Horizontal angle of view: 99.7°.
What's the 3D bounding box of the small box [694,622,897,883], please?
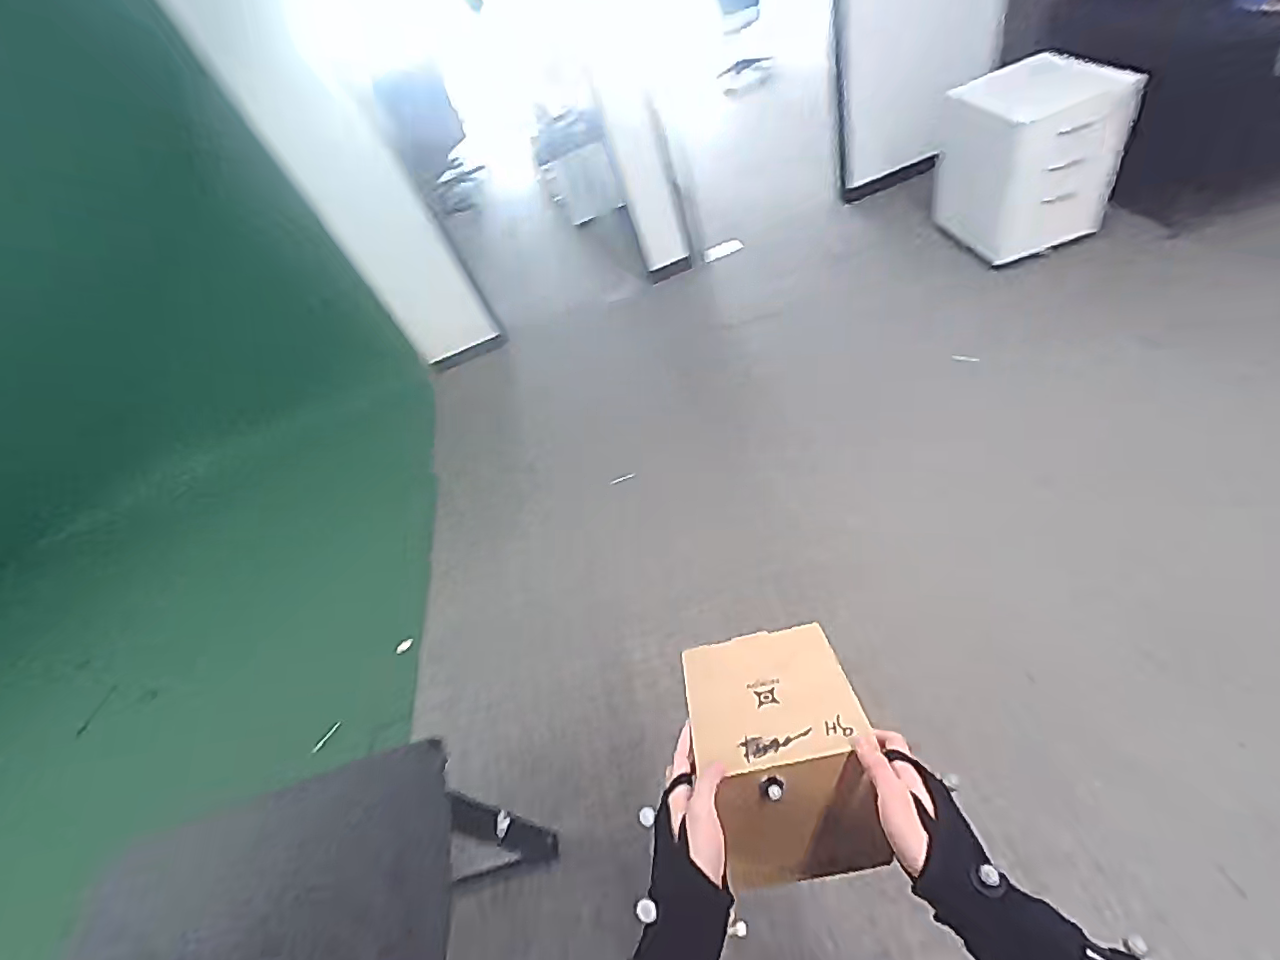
[{"bbox_3d":[0.160,0.287,0.588,0.168,0.176,0.179,-14,21,6],"label":"small box"}]
